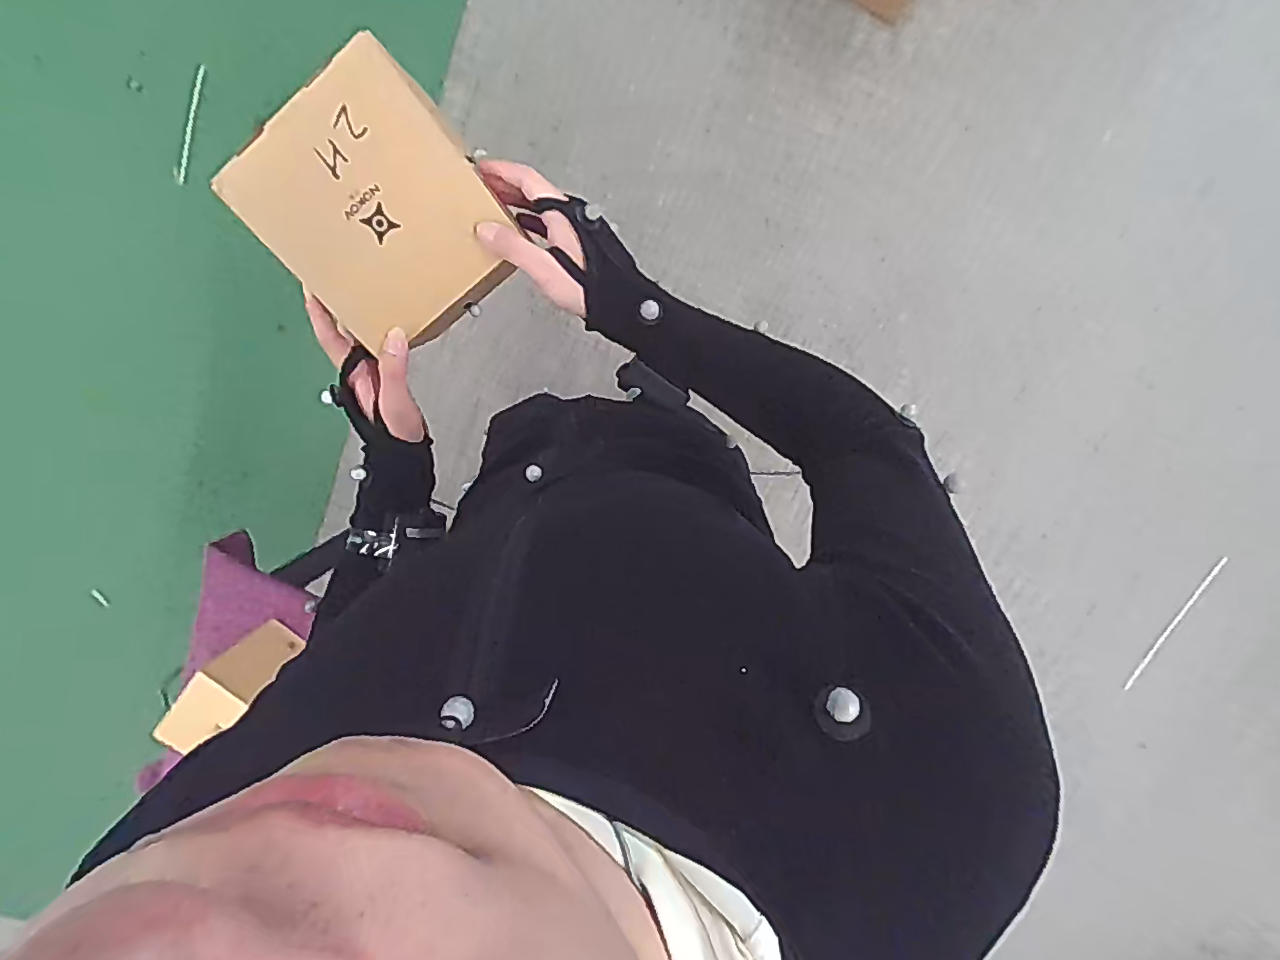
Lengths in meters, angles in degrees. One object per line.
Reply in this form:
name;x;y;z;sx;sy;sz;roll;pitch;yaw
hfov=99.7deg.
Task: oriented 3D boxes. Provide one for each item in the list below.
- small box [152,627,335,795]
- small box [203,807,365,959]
small box;-0.681;0.396;0.954;0.168;0.176;0.179;40;106;-7
small box;-0.677;0.768;1.050;0.168;0.176;0.179;-13;103;7
